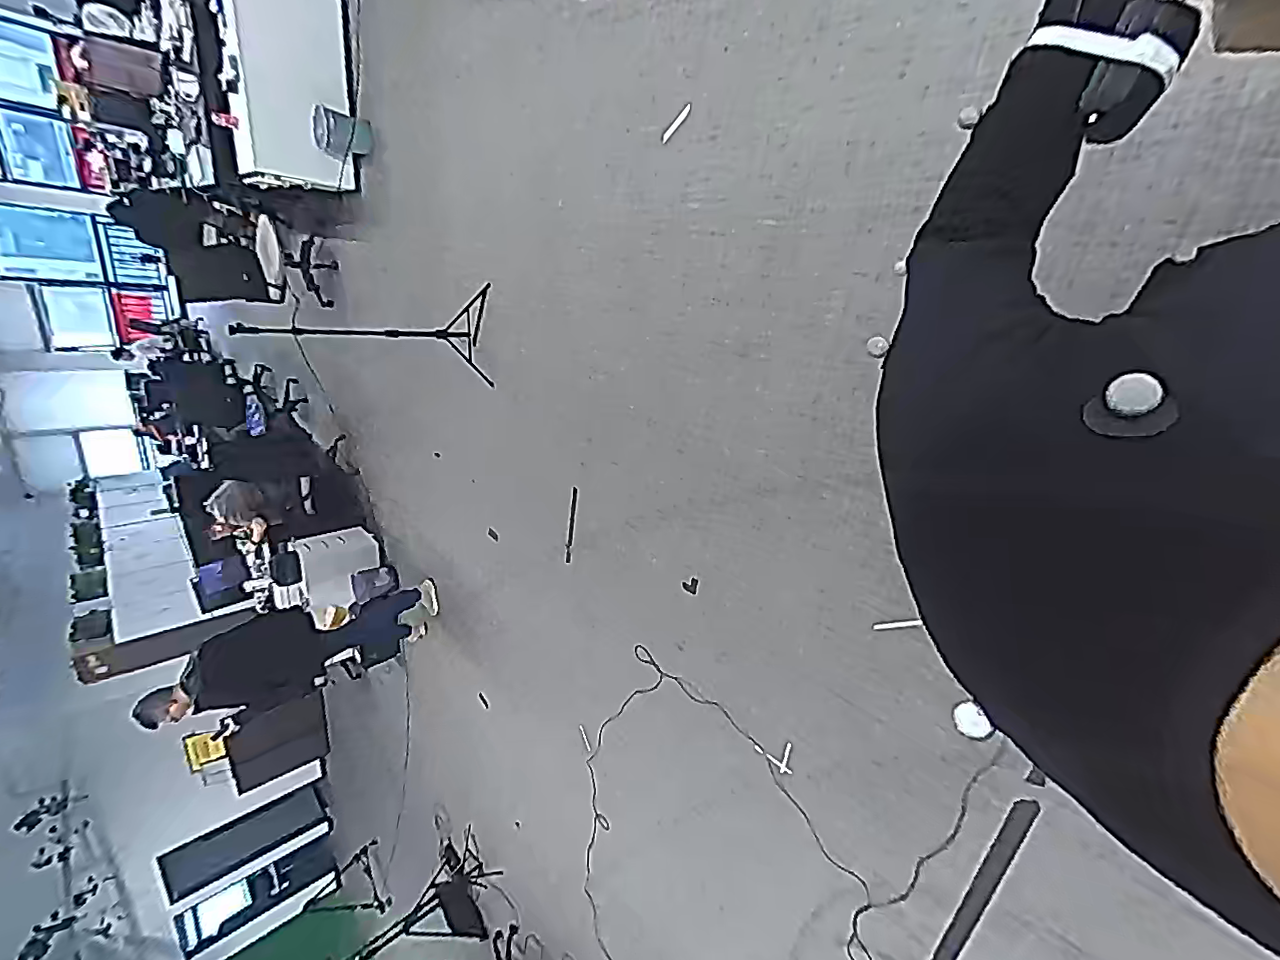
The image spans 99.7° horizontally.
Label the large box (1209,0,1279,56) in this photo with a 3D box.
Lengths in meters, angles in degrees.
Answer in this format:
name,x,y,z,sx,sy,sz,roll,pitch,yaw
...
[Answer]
name,x,y,z,sx,sy,sz,roll,pitch,yaw
large box,0.594,-0.408,0.230,0.408,0.320,0.320,29,129,33
